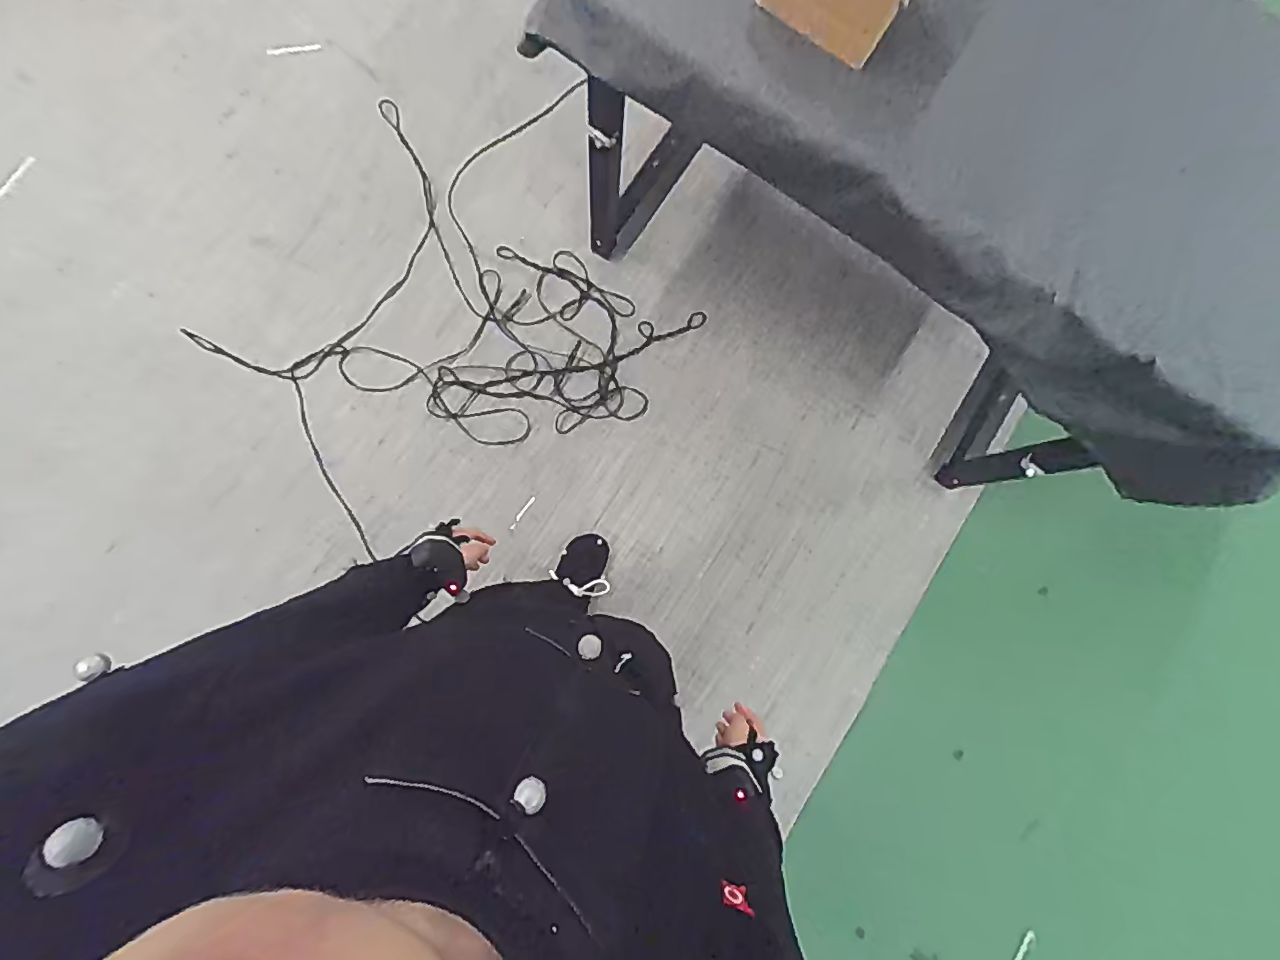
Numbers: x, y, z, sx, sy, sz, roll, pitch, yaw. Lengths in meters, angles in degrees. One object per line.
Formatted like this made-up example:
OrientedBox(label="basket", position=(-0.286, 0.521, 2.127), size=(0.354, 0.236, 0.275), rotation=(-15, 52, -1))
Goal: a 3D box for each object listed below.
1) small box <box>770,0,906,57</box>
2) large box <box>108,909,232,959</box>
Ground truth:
OrientedBox(label="small box", position=(0.284, -0.699, 0.684), size=(0.179, 0.176, 0.168), rotation=(33, 82, -1))
OrientedBox(label="large box", position=(-0.985, 1.181, 1.045), size=(0.408, 0.320, 0.320), rotation=(40, 82, 2))
